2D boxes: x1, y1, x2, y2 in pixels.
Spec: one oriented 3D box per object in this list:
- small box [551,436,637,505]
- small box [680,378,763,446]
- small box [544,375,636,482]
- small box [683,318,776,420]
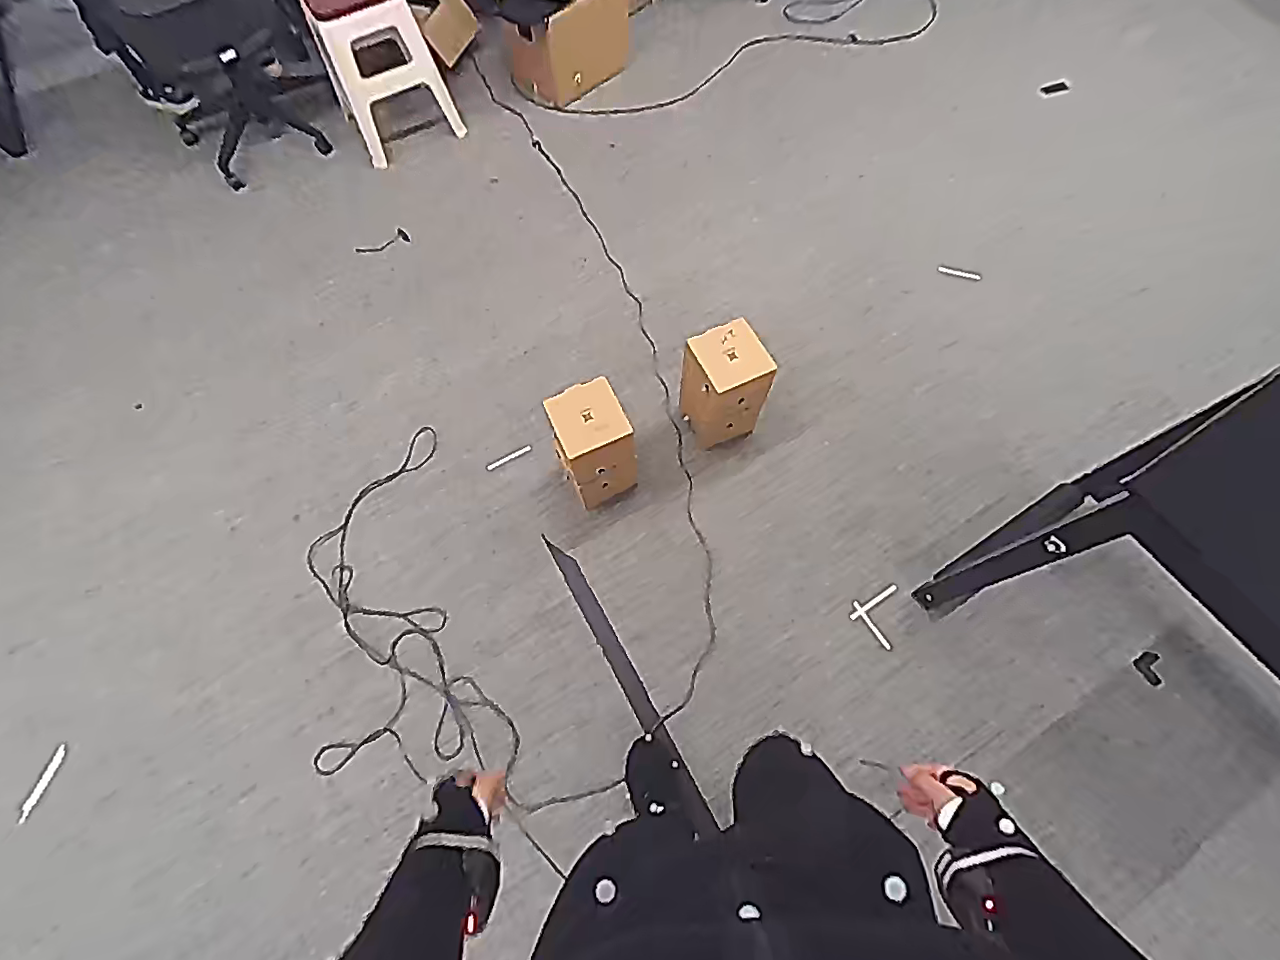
[{"bbox_3d":[-0.119,-0.055,1.490,0.179,0.176,0.168,-29,70,-10],"label":"small box"},{"bbox_3d":[0.226,-0.223,1.551,0.179,0.176,0.168,-21,68,-7],"label":"small box"},{"bbox_3d":[-0.120,-0.123,1.340,0.168,0.176,0.179,-25,70,-8],"label":"small box"},{"bbox_3d":[0.223,-0.277,1.395,0.168,0.176,0.179,-23,68,-10],"label":"small box"}]
